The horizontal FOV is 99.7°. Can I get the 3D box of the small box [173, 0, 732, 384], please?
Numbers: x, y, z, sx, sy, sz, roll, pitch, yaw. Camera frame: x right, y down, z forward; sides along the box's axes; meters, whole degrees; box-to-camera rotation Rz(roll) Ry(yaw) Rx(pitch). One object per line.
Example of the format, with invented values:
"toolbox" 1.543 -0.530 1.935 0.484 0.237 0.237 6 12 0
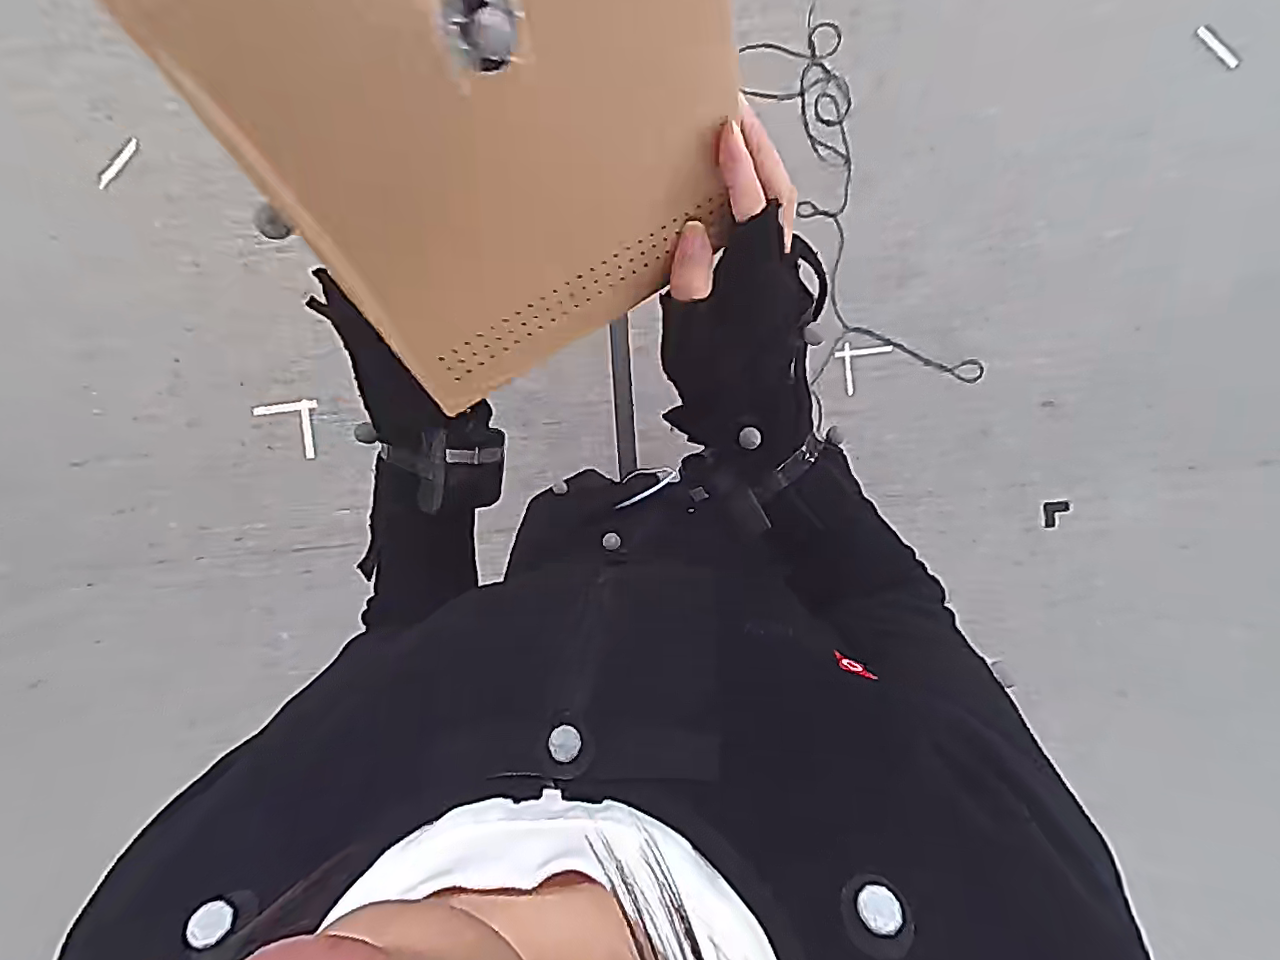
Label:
"small box" -0.072 -0.180 0.260 0.179 0.176 0.168 -34 58 -7
